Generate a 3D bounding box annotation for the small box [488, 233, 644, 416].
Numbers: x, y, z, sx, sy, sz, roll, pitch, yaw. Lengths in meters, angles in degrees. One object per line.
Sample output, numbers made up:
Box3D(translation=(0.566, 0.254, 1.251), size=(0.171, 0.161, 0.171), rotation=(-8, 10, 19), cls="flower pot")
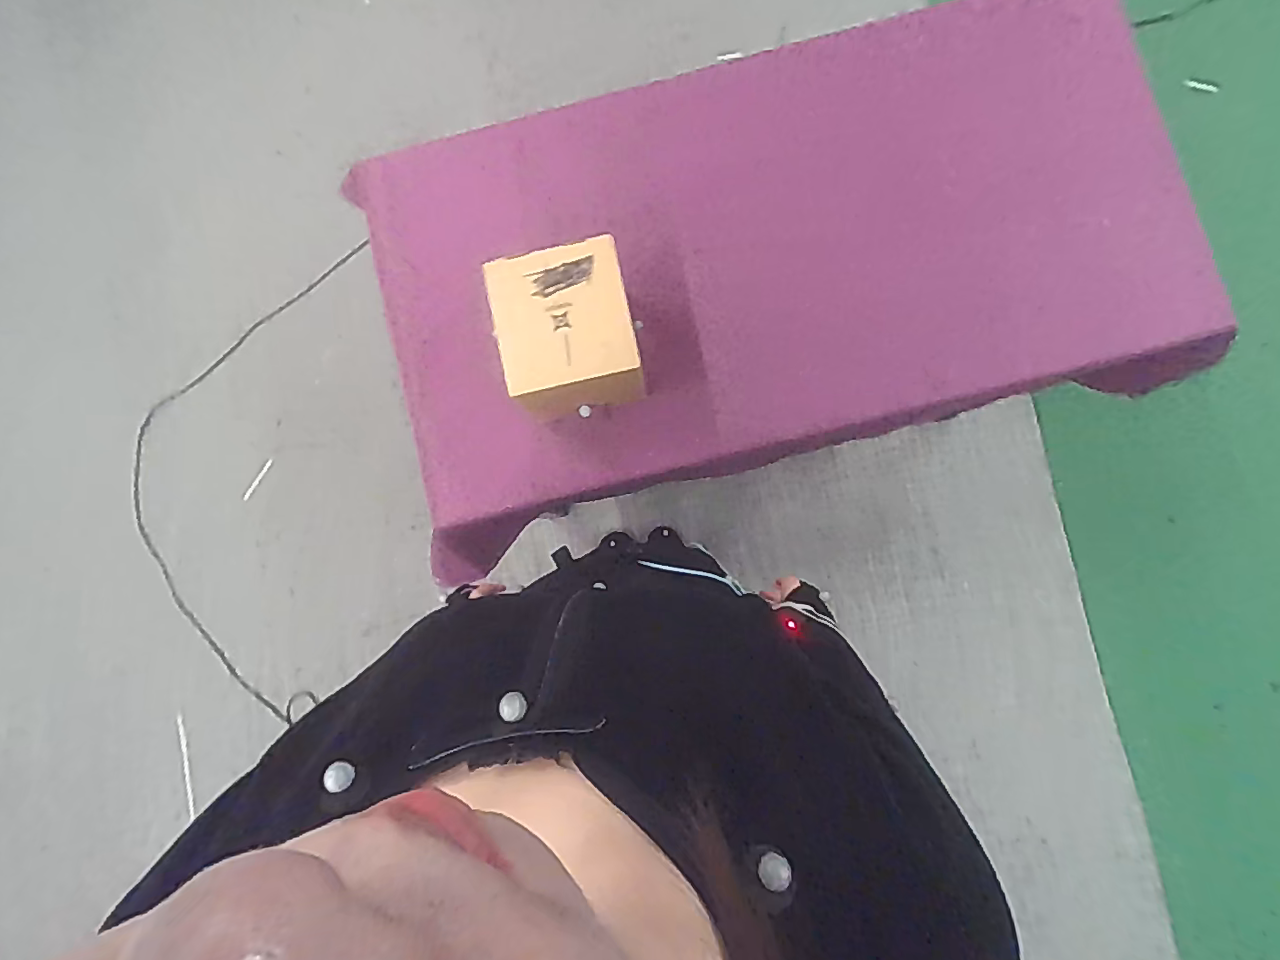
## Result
Box3D(translation=(-0.092, -0.201, 0.743), size=(0.168, 0.176, 0.179), rotation=(-13, 86, 2), cls="small box")
